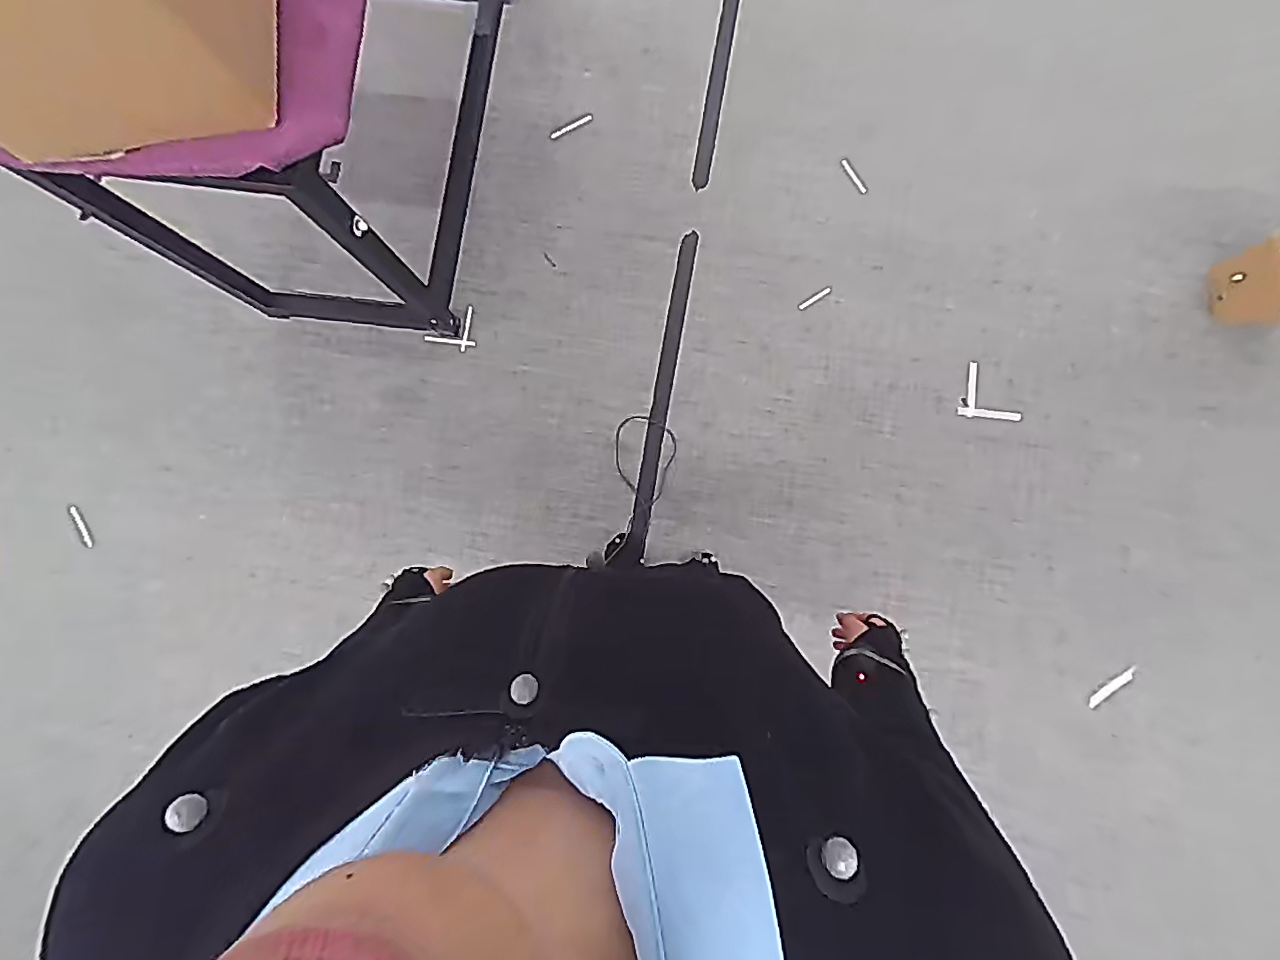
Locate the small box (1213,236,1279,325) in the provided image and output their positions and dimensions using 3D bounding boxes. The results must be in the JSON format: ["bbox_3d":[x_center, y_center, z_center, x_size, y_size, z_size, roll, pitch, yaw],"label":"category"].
[{"bbox_3d":[1.698,-0.526,1.444,0.179,0.176,0.168,5,85,2],"label":"small box"}]
